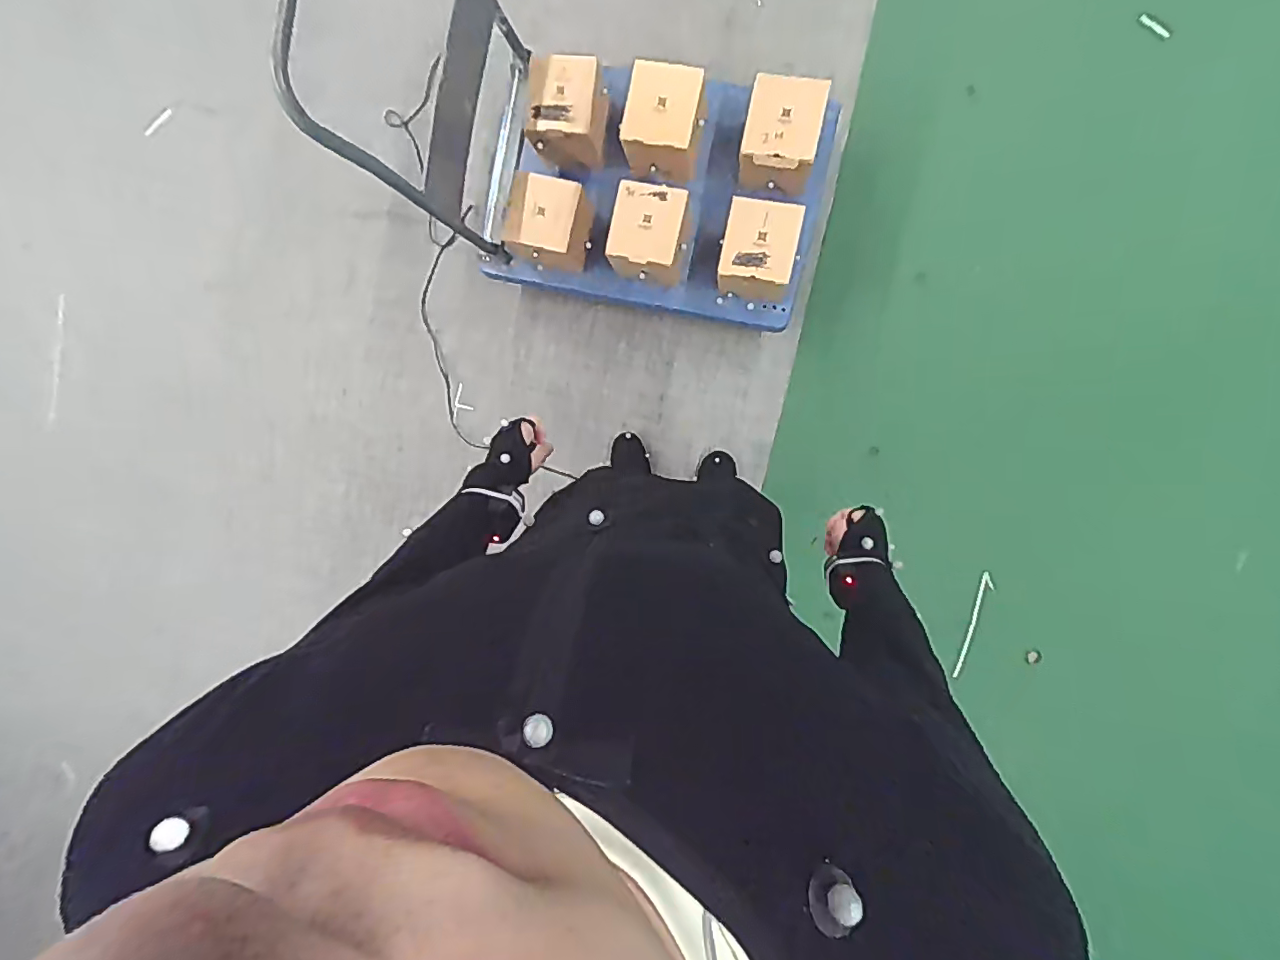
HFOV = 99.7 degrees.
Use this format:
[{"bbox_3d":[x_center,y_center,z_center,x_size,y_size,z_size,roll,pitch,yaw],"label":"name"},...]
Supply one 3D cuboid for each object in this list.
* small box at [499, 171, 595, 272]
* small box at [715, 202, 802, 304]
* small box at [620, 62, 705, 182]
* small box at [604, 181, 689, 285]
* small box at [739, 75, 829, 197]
[{"bbox_3d":[-0.231,-0.647,1.375,0.179,0.176,0.168,16,97,6],"label":"small box"},{"bbox_3d":[0.285,-0.545,1.320,0.168,0.176,0.179,13,95,7],"label":"small box"},{"bbox_3d":[0.059,-0.863,1.317,0.168,0.176,0.179,14,98,7],"label":"small box"},{"bbox_3d":[0.023,-0.602,1.339,0.168,0.176,0.179,14,96,7],"label":"small box"},{"bbox_3d":[0.330,-0.804,1.277,0.168,0.176,0.179,13,96,8],"label":"small box"}]
